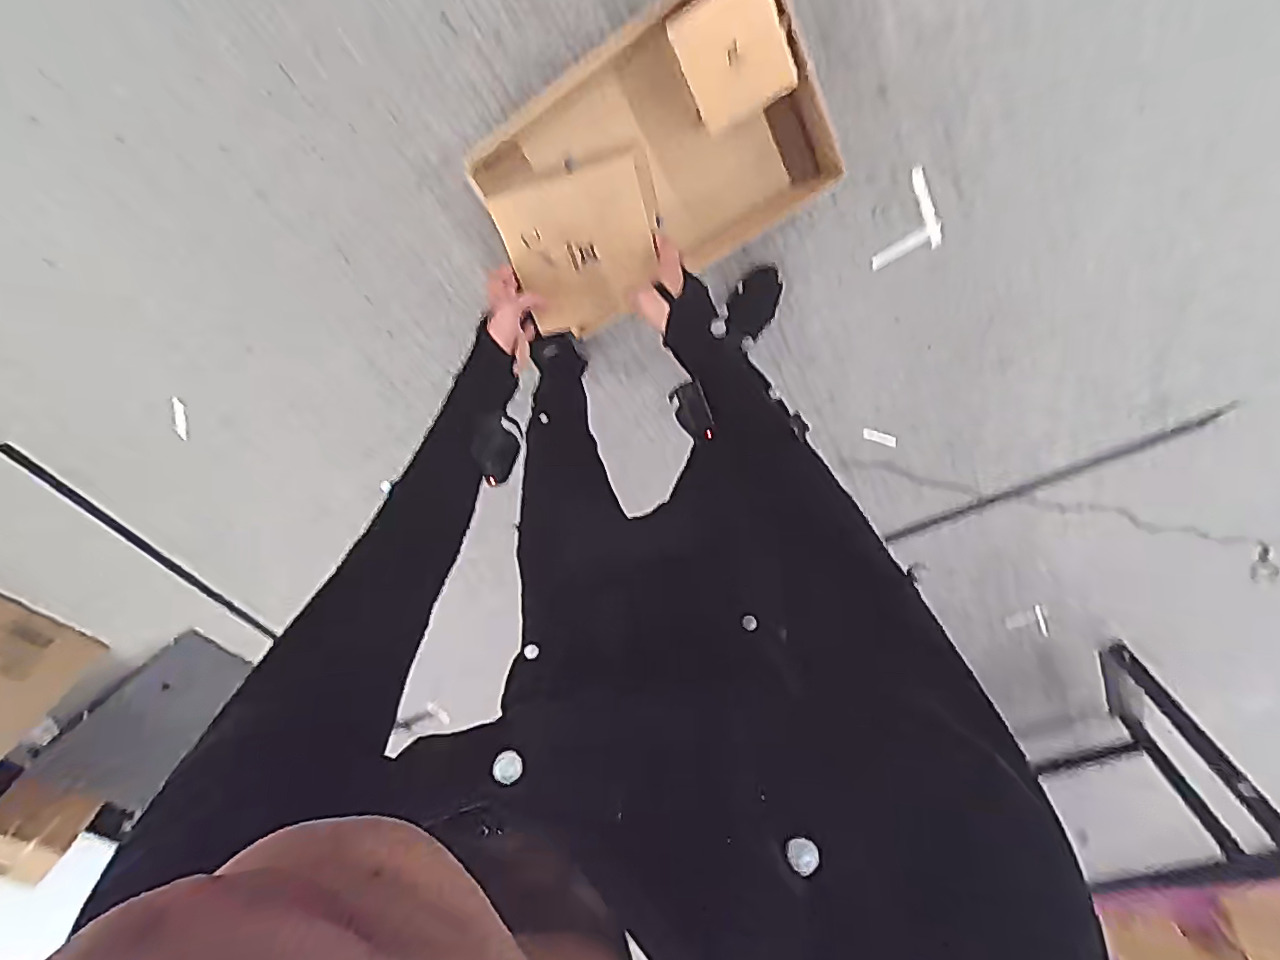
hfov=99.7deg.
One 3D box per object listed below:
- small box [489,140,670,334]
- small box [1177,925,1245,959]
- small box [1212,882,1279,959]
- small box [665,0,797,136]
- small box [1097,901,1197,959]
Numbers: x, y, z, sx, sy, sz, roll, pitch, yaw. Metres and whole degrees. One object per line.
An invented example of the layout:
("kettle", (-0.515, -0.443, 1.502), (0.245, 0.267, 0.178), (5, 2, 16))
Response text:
("small box", (-0.063, -0.316, 0.697), (0.179, 0.176, 0.168), (-10, 126, 14))
("small box", (1.694, 1.453, 1.605), (0.168, 0.176, 0.179), (-26, 120, 17))
("small box", (1.693, 1.201, 1.433), (0.179, 0.176, 0.168), (-26, 120, 16))
("small box", (0.153, -0.746, 0.956), (0.168, 0.176, 0.179), (-25, 123, 17))
("small box", (1.438, 1.323, 1.521), (0.168, 0.176, 0.179), (-27, 118, 16))
